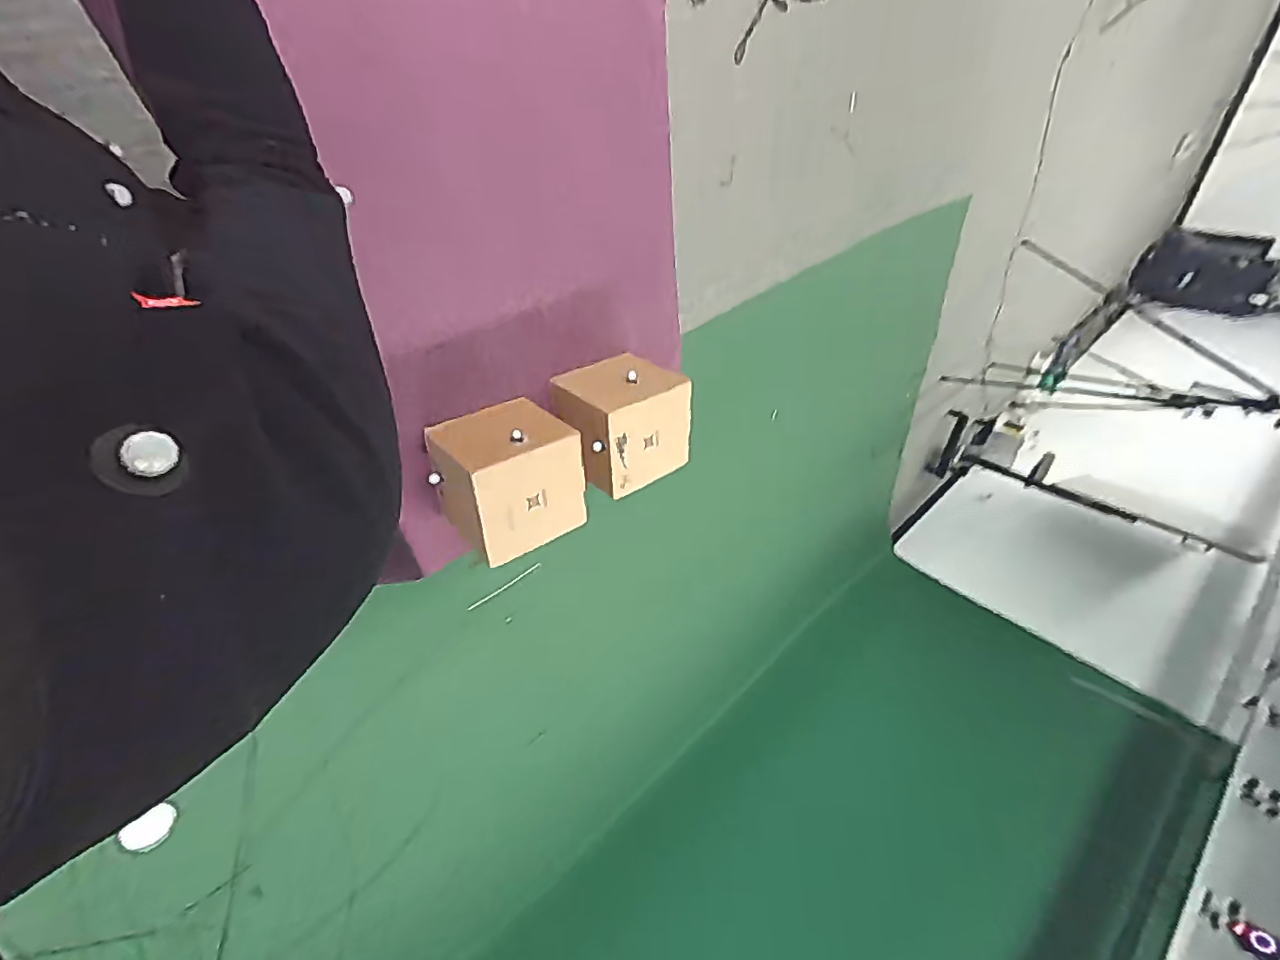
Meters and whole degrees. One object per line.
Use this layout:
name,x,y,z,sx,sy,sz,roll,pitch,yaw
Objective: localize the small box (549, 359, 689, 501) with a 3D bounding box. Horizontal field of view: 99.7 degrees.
small box,-0.037,-0.097,0.949,0.179,0.176,0.168,-27,133,-32
